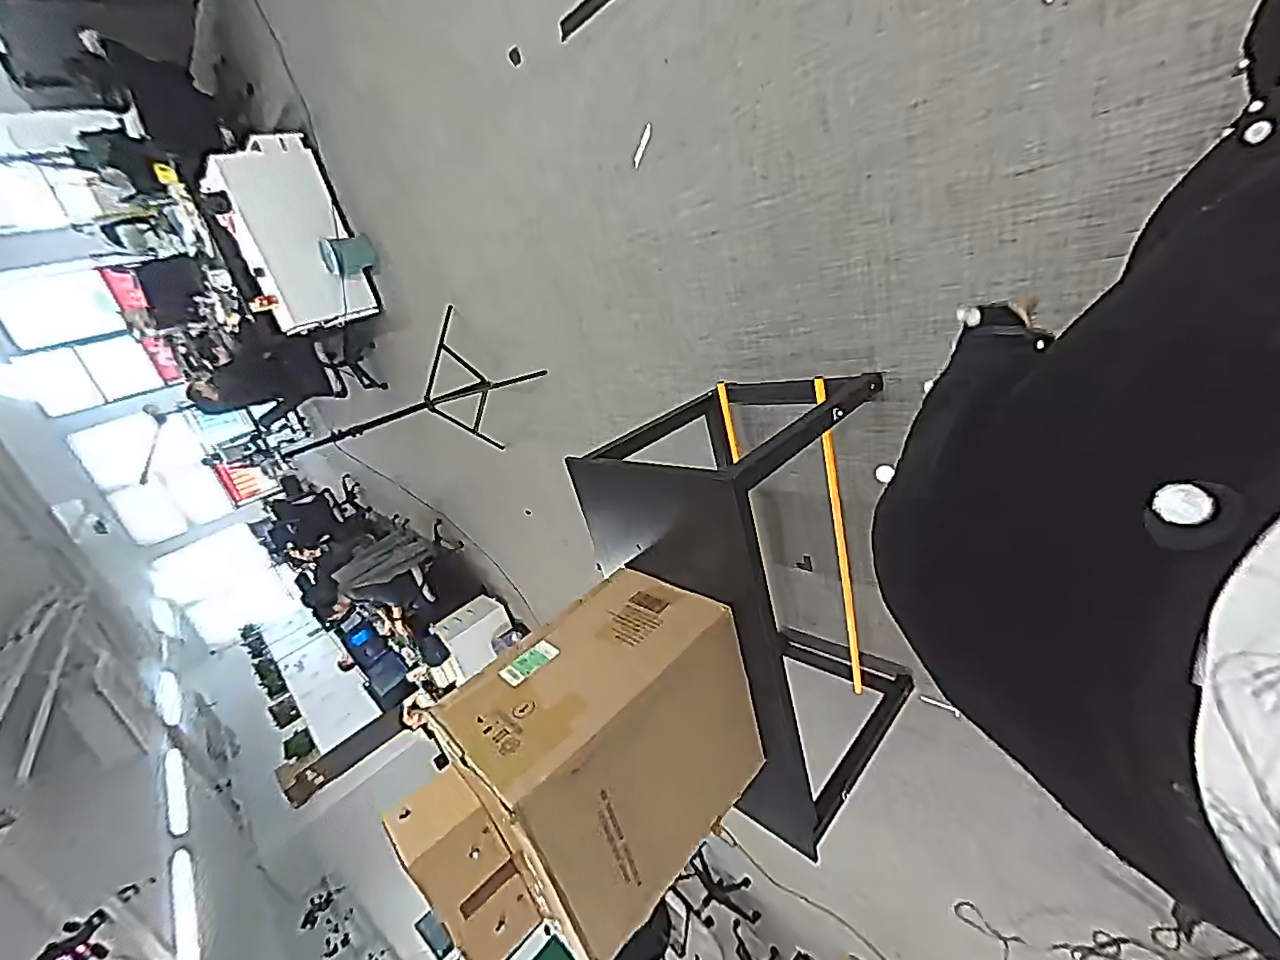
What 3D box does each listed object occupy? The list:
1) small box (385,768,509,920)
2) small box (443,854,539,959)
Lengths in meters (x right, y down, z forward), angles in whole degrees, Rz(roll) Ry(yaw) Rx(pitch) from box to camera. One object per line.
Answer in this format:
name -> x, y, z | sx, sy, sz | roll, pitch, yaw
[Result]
small box -> -0.406, 0.754, 1.146 | 0.179, 0.176, 0.168 | 8, 122, 50
small box -> -0.352, 0.957, 1.234 | 0.179, 0.176, 0.168 | 4, 118, 50
